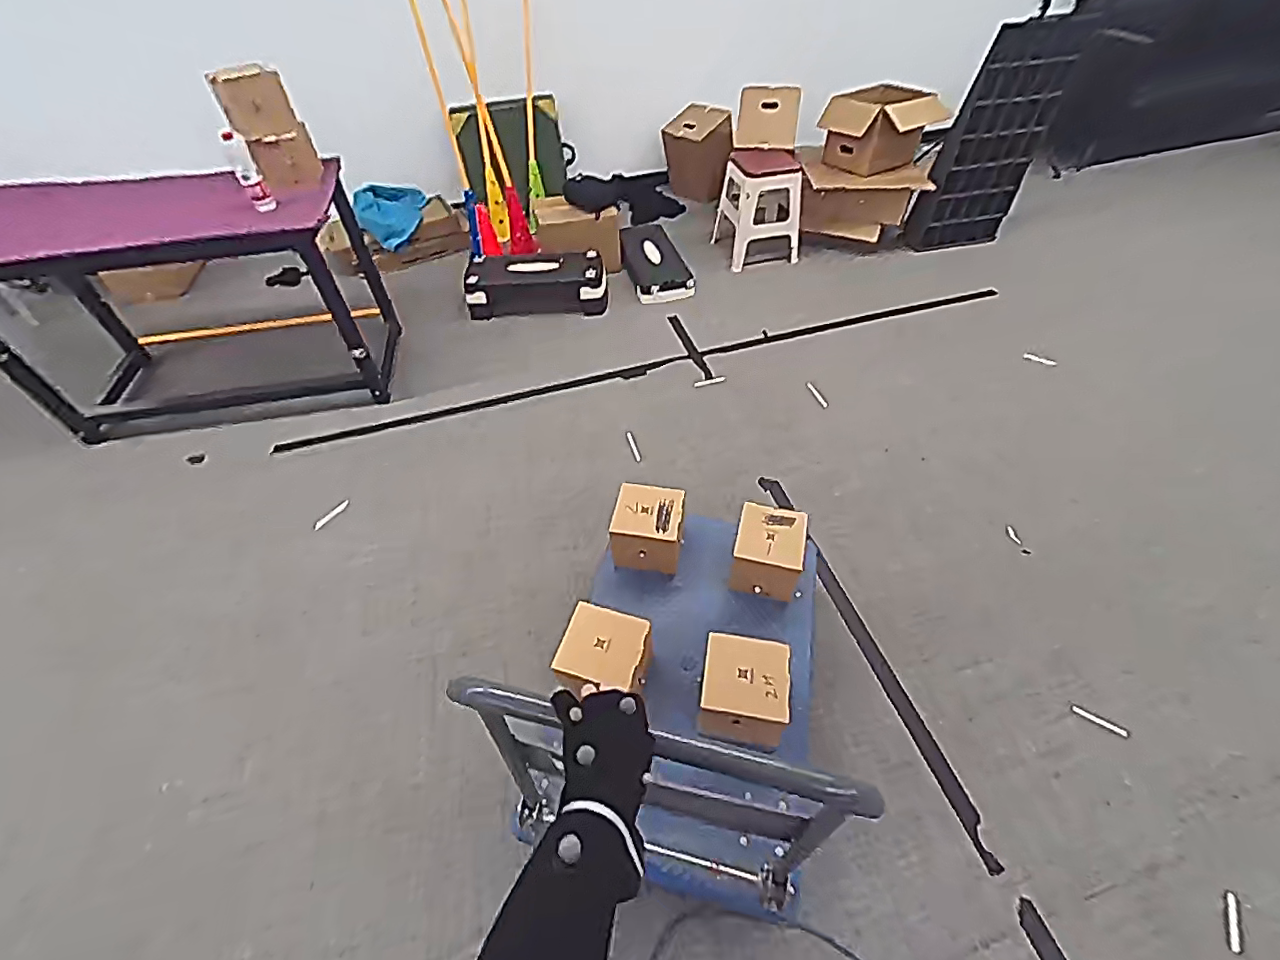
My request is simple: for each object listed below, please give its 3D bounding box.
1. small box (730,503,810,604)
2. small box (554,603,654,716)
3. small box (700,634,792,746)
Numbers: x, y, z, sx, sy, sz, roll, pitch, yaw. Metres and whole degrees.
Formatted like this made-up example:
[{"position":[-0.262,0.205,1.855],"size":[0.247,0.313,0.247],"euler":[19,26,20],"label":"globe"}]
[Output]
[{"position":[0.333,0.191,1.402],"size":[0.168,0.176,0.179],"euler":[11,51,12],"label":"small box"},{"position":[-0.075,0.411,1.228],"size":[0.179,0.176,0.168],"euler":[13,50,12],"label":"small box"},{"position":[0.226,0.458,1.173],"size":[0.179,0.176,0.168],"euler":[7,50,9],"label":"small box"}]
